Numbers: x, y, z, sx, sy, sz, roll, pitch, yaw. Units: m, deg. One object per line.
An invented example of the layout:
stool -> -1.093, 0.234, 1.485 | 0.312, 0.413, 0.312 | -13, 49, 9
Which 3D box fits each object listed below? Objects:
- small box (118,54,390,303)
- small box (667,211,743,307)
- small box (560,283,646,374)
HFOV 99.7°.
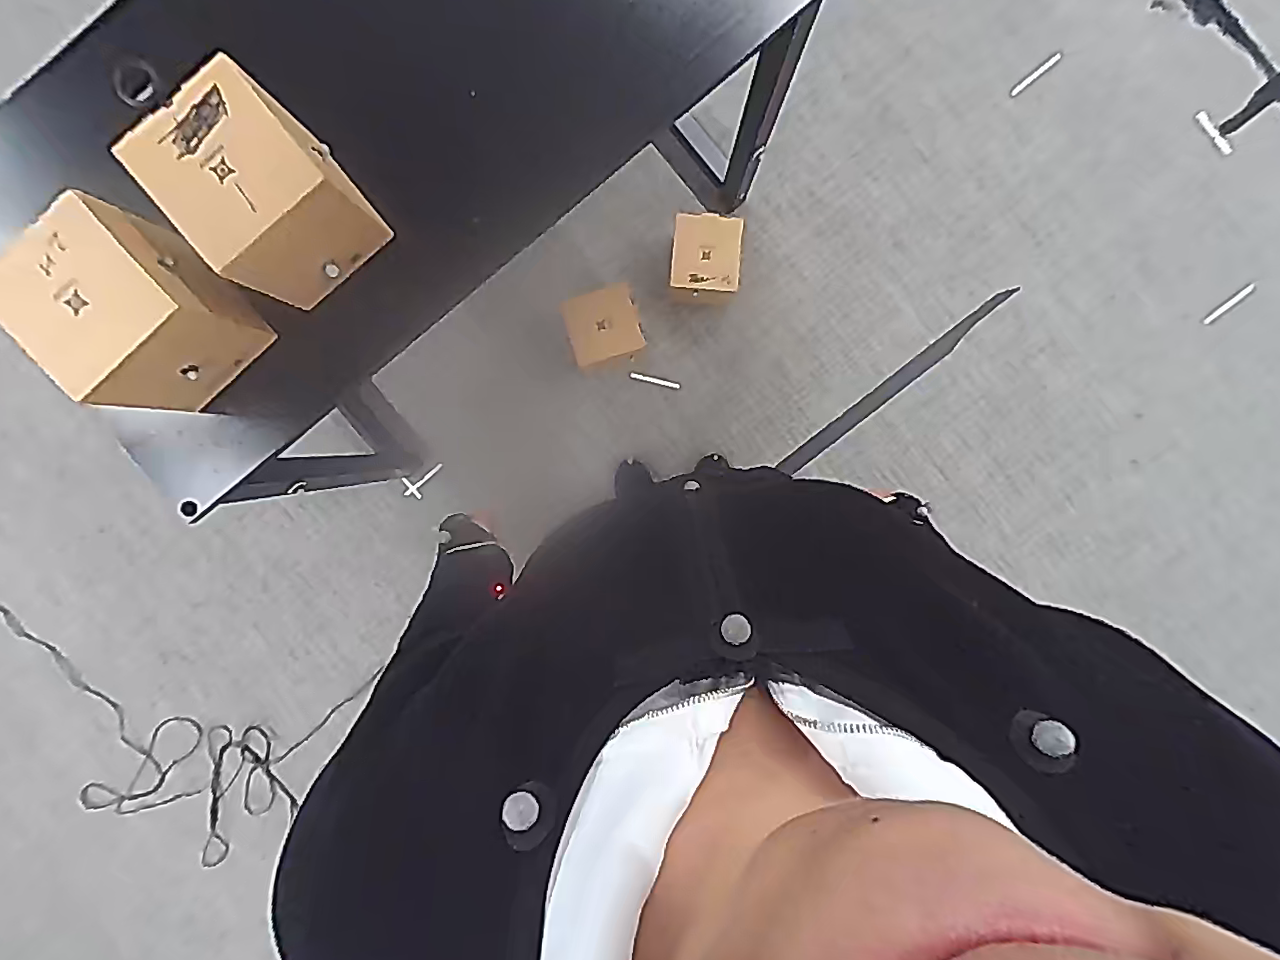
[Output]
small box -> -0.458, -0.352, 0.672 | 0.168, 0.176, 0.179 | -39, 93, 3
small box -> 0.160, -0.556, 1.379 | 0.168, 0.176, 0.179 | 5, 94, 1
small box -> -0.090, -0.384, 1.397 | 0.179, 0.176, 0.168 | -18, 93, 3
